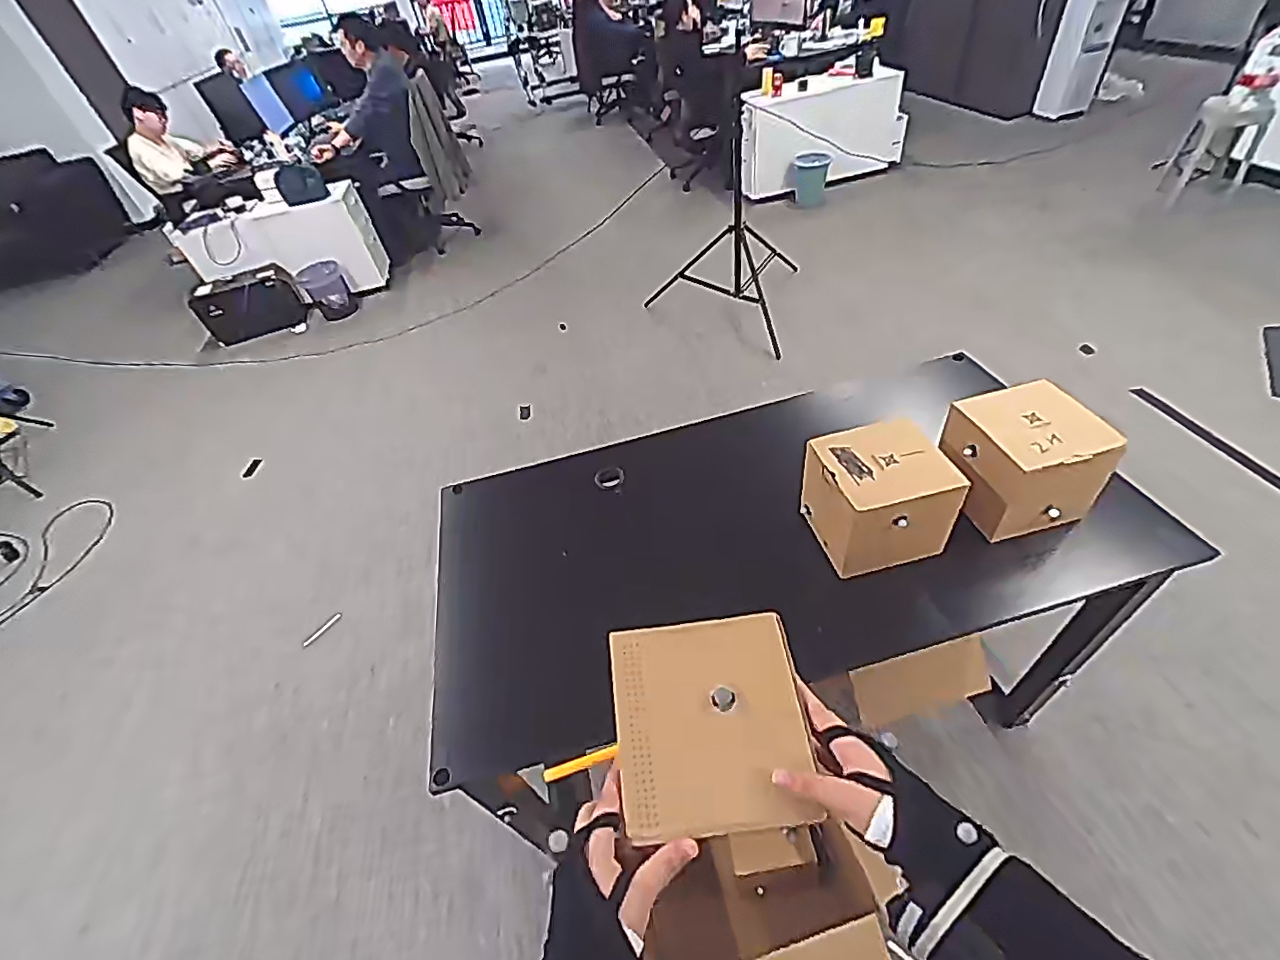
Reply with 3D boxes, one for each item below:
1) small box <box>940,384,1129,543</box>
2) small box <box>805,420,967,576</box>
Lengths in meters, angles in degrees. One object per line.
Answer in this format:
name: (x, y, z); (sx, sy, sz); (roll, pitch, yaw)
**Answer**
small box: (0.617, -0.027, 0.885); (0.168, 0.176, 0.179); (-14, 45, -2)
small box: (0.379, 0.033, 0.875); (0.179, 0.176, 0.168); (-13, 45, -3)
